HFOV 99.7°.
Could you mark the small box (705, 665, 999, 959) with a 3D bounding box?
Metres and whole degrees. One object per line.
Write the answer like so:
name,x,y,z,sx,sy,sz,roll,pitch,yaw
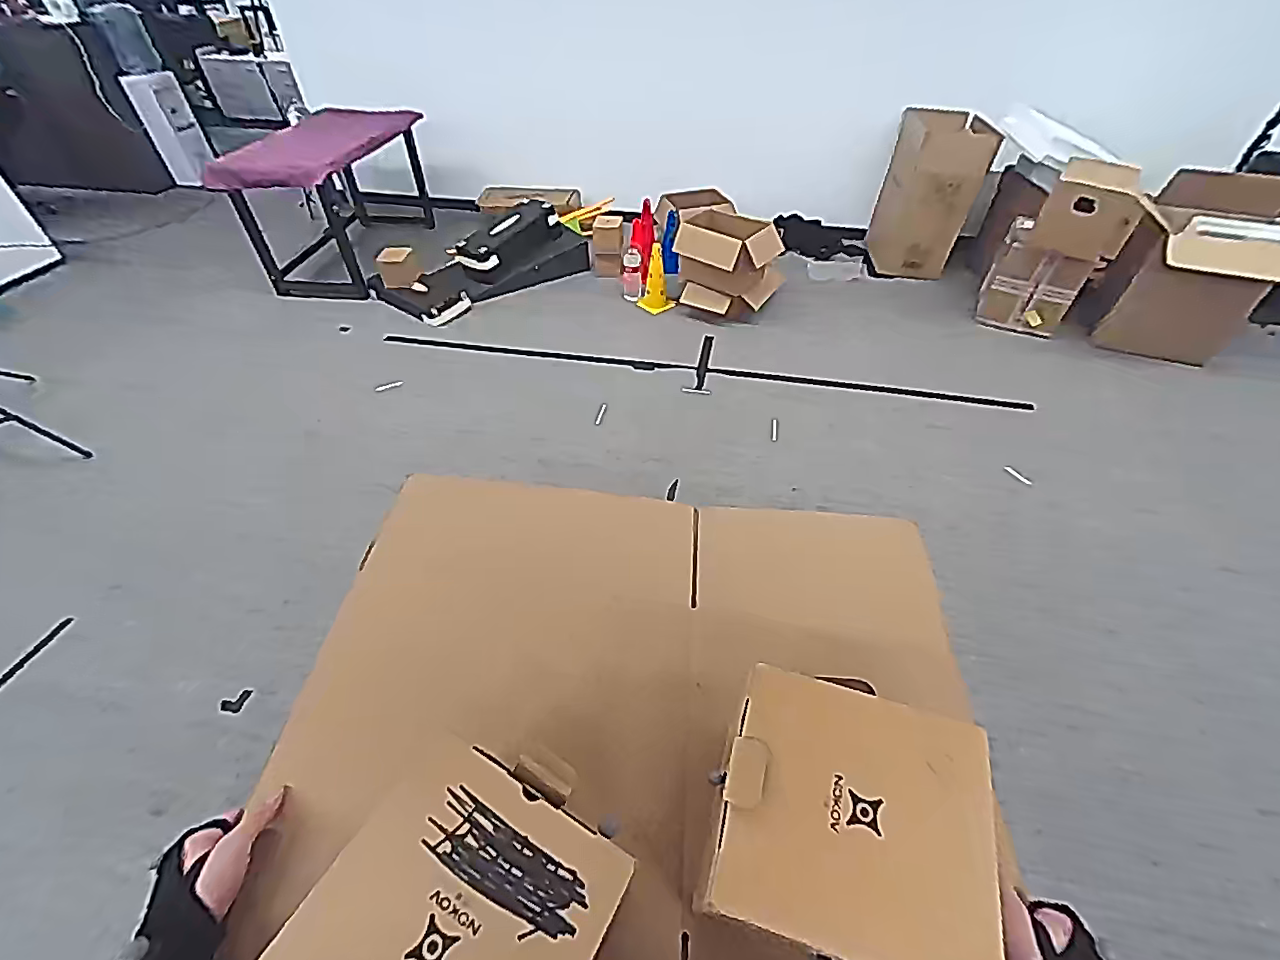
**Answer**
small box,0.158,0.281,0.444,0.179,0.176,0.168,12,52,13
